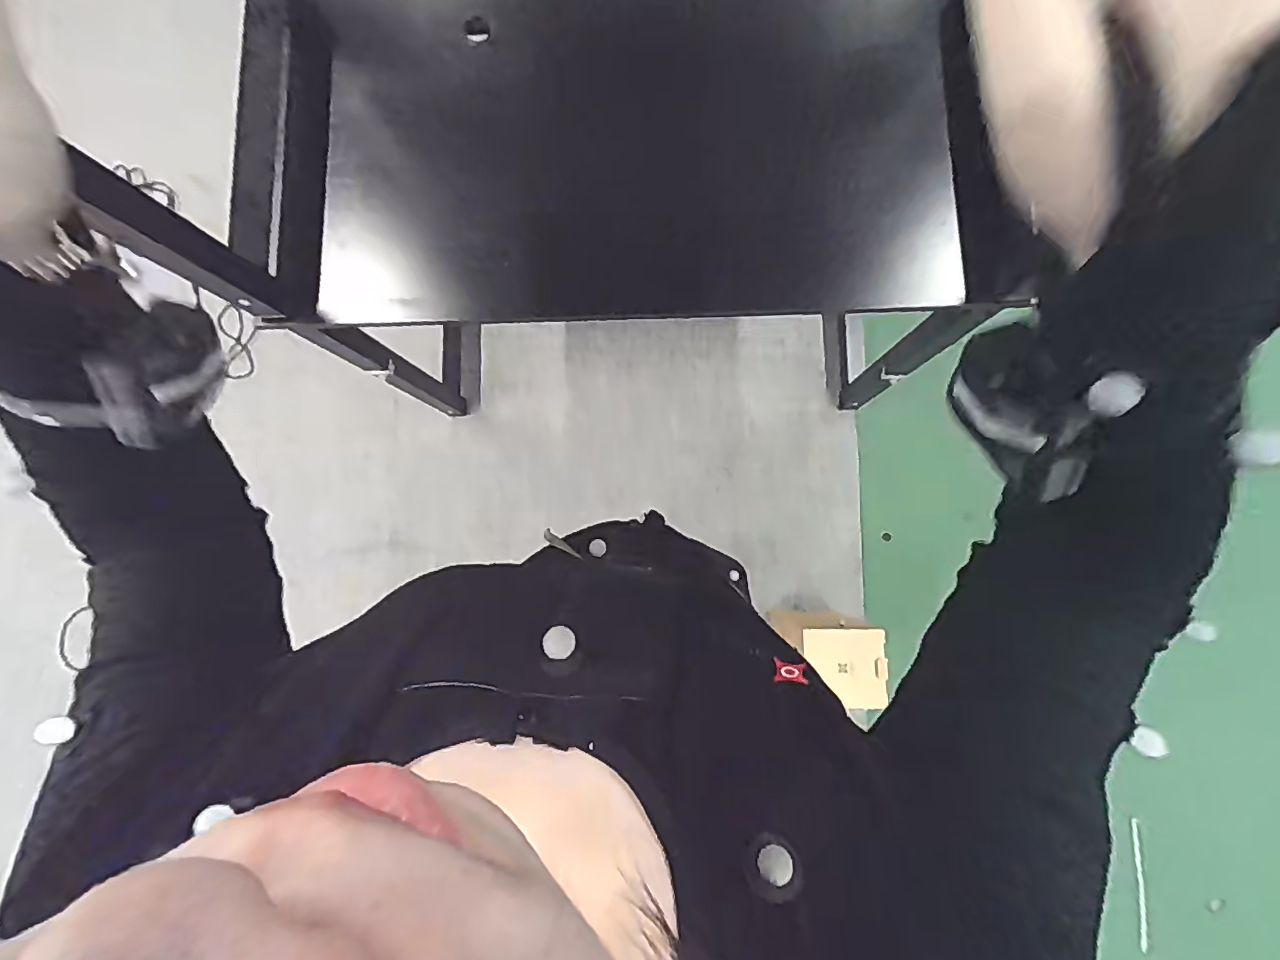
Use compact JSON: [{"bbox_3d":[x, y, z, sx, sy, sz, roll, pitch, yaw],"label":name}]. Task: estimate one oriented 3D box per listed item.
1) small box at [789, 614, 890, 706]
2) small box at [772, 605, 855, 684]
[{"bbox_3d":[0.436,0.398,1.214,0.179,0.176,0.168,-1,84,2],"label":"small box"},{"bbox_3d":[0.437,0.414,1.376,0.179,0.176,0.168,-2,84,3],"label":"small box"}]
